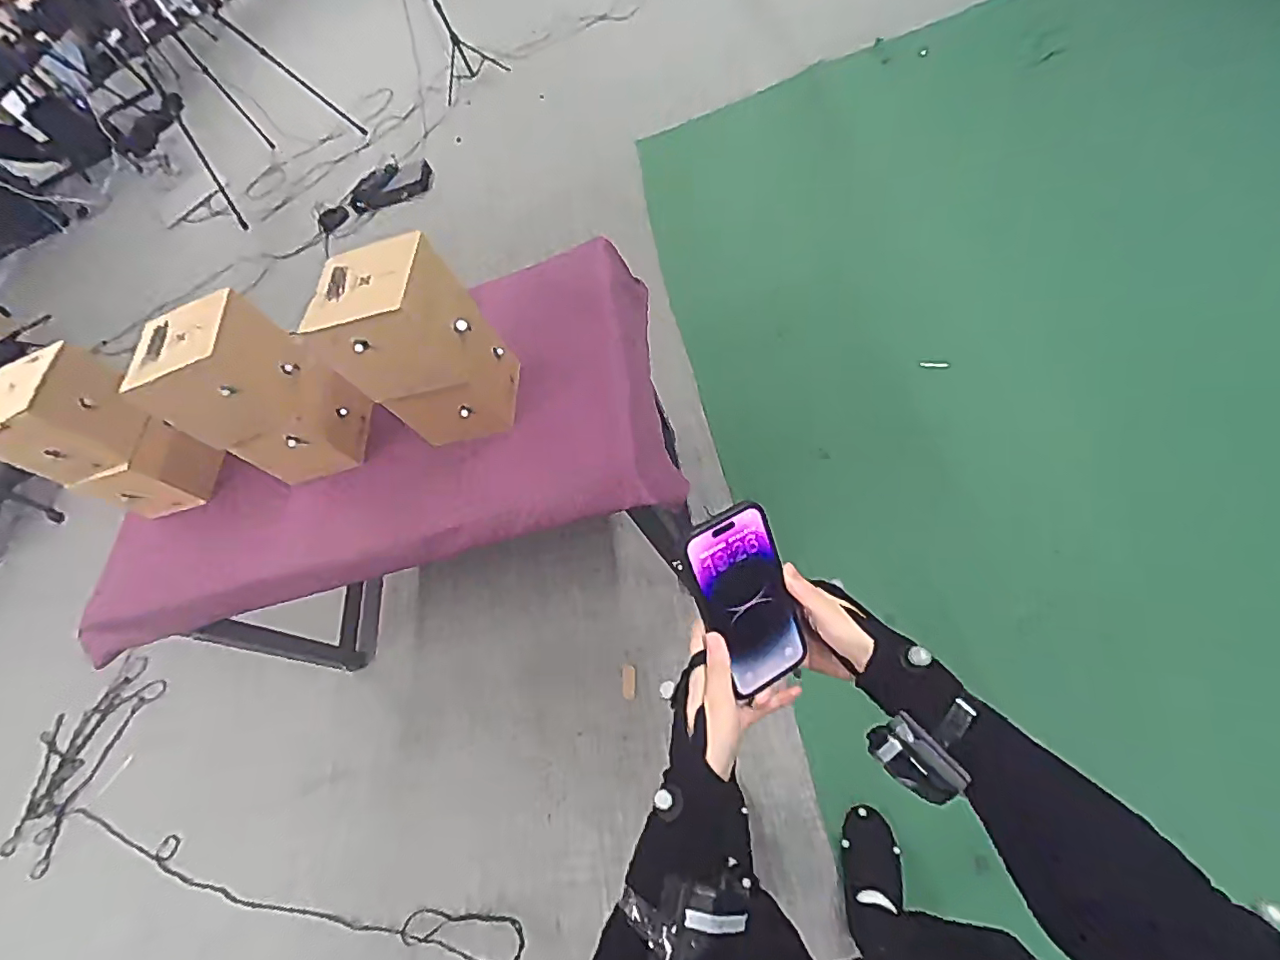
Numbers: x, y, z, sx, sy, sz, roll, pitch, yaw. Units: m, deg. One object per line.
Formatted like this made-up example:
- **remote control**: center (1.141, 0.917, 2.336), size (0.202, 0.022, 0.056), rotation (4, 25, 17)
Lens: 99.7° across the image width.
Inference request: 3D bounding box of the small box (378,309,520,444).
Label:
- **small box**: center (-0.342, -0.185, 1.005), size (0.179, 0.176, 0.168), rotation (-9, 60, 15)

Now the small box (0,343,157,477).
- **small box**: center (-1.089, -0.122, 1.038), size (0.168, 0.176, 0.179), rotation (-18, 59, 9)

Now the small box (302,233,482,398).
- **small box**: center (-0.380, -0.250, 0.859), size (0.179, 0.176, 0.168), rotation (-9, 60, 14)

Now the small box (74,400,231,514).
- **small box**: center (-1.039, -0.040, 1.171), size (0.168, 0.176, 0.179), rotation (-14, 59, 12)

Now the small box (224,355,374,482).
- **small box**: center (-0.667, -0.116, 1.080), size (0.179, 0.176, 0.168), rotation (-14, 59, 12)
